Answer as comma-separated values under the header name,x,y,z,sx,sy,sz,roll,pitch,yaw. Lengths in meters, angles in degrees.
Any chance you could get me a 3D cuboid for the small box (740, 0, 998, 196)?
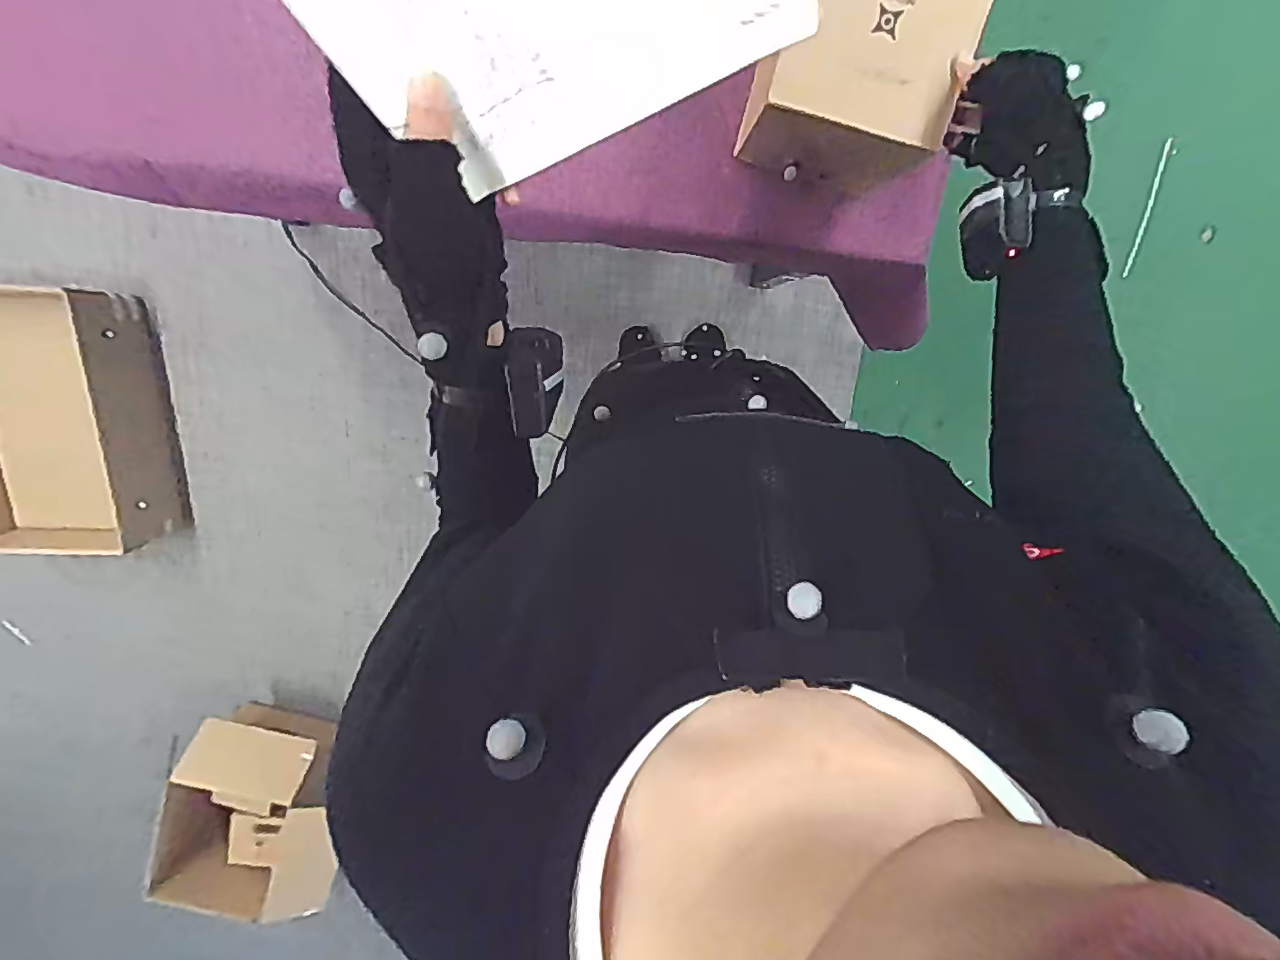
name,x,y,z,sx,sy,sz,roll,pitch,yaw
small box,0.210,-0.411,0.533,0.168,0.176,0.179,14,105,-5
